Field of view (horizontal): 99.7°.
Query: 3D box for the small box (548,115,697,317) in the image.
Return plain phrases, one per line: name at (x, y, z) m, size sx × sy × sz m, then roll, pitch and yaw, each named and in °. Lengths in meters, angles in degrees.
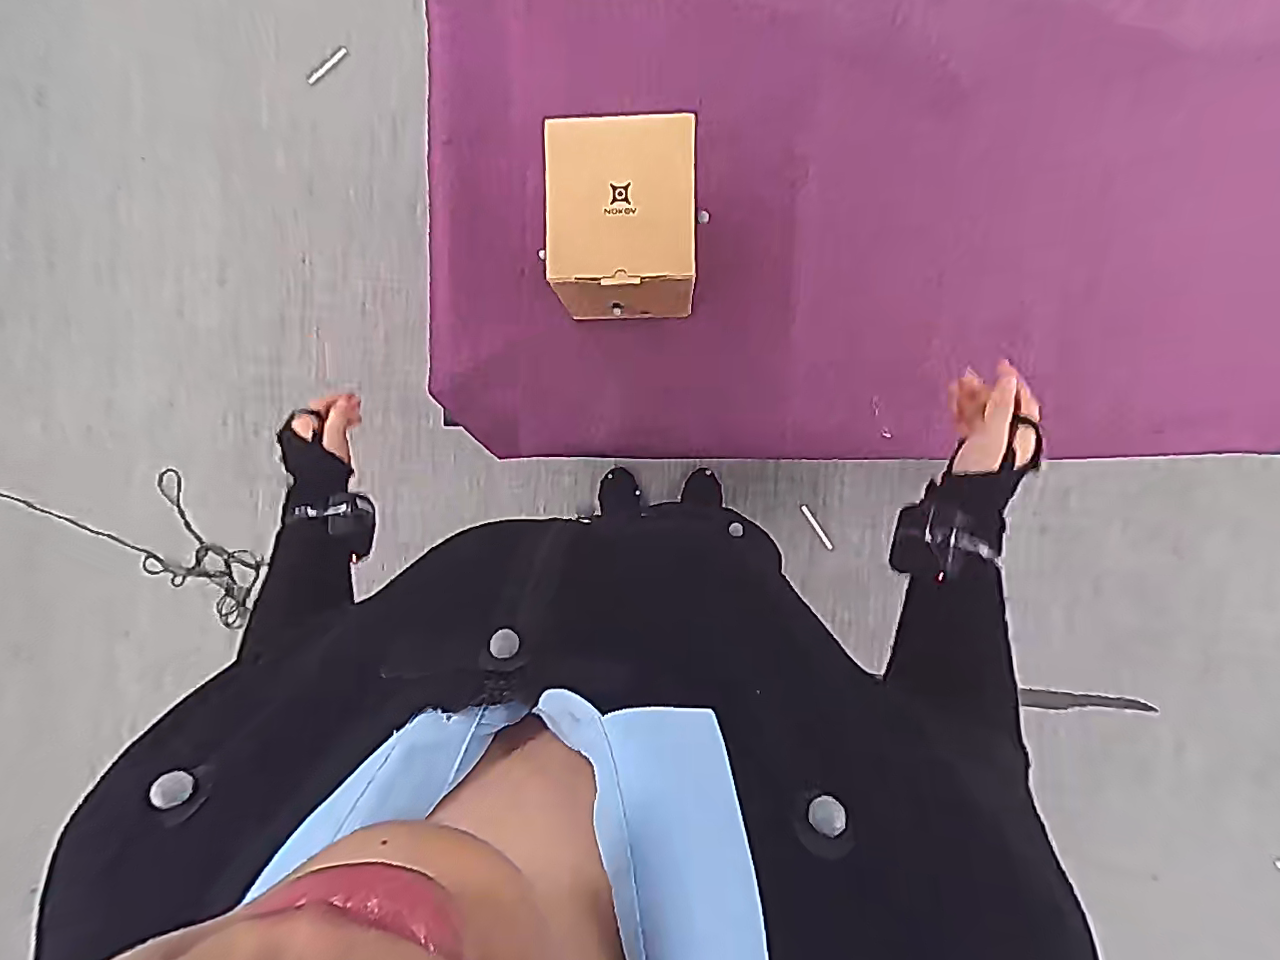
small box at (-0.017, -0.311, 0.668) m, size 0.168 × 0.176 × 0.179 m, roll -1°, pitch 93°, yaw 3°
